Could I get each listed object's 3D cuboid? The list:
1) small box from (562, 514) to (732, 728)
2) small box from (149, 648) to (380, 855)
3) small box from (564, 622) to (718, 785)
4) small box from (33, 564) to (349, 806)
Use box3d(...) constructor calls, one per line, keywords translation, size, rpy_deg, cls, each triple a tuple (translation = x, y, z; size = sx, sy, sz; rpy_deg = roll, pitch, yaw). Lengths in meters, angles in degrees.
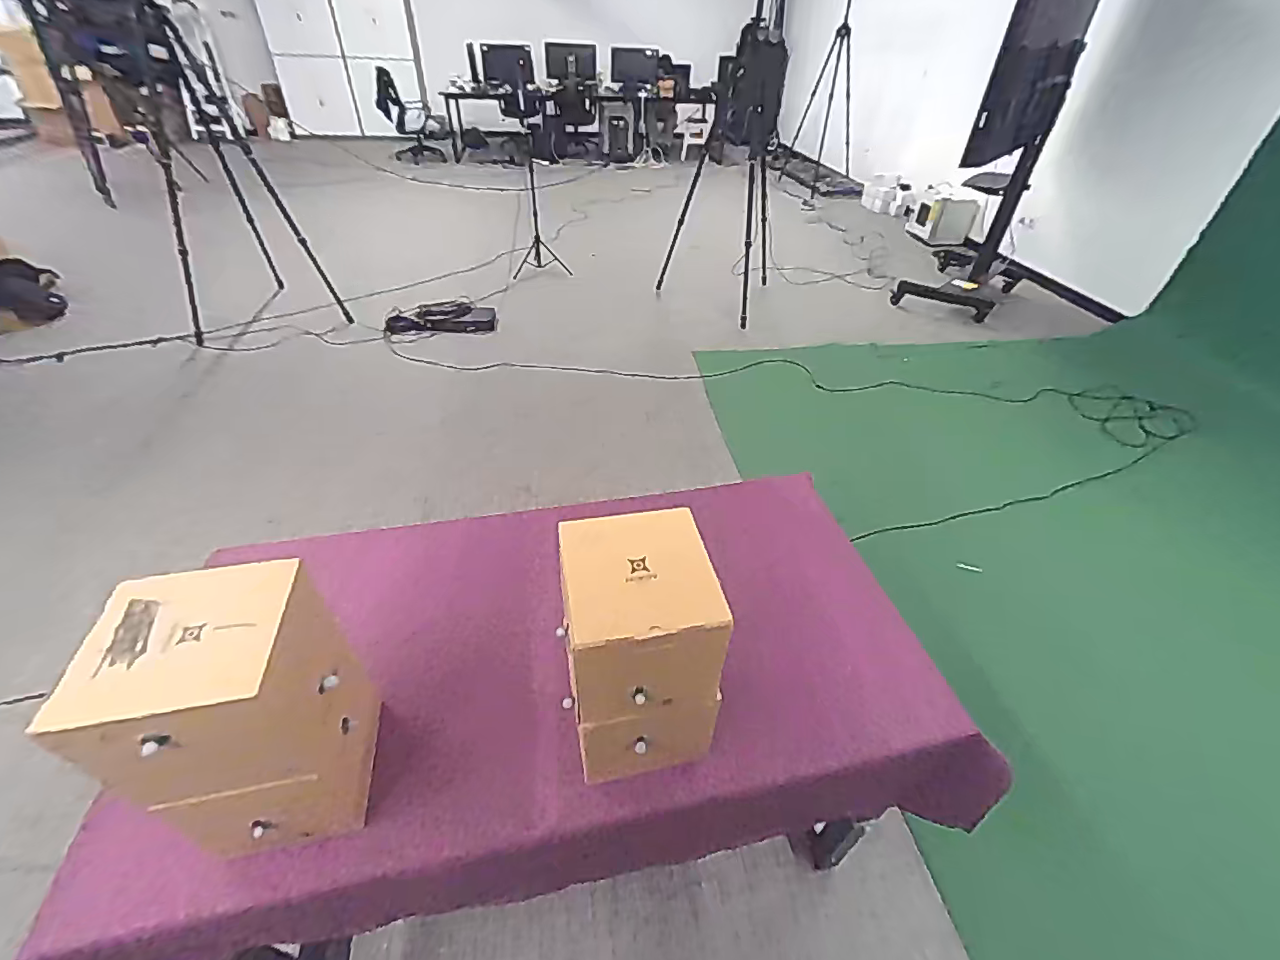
box3d(translation=(-0.004, 0.166, 0.652), size=(0.168, 0.176, 0.179), rpy_deg=(-6, 41, -10), cls="small box")
box3d(translation=(-0.443, 0.341, 0.679), size=(0.168, 0.176, 0.179), rpy_deg=(-6, 40, -11), cls="small box")
box3d(translation=(-0.004, 0.295, 0.752), size=(0.179, 0.176, 0.168), rpy_deg=(-8, 41, -10), cls="small box")
box3d(translation=(-0.439, 0.215, 0.572), size=(0.179, 0.176, 0.168), rpy_deg=(-6, 41, -11), cls="small box")
